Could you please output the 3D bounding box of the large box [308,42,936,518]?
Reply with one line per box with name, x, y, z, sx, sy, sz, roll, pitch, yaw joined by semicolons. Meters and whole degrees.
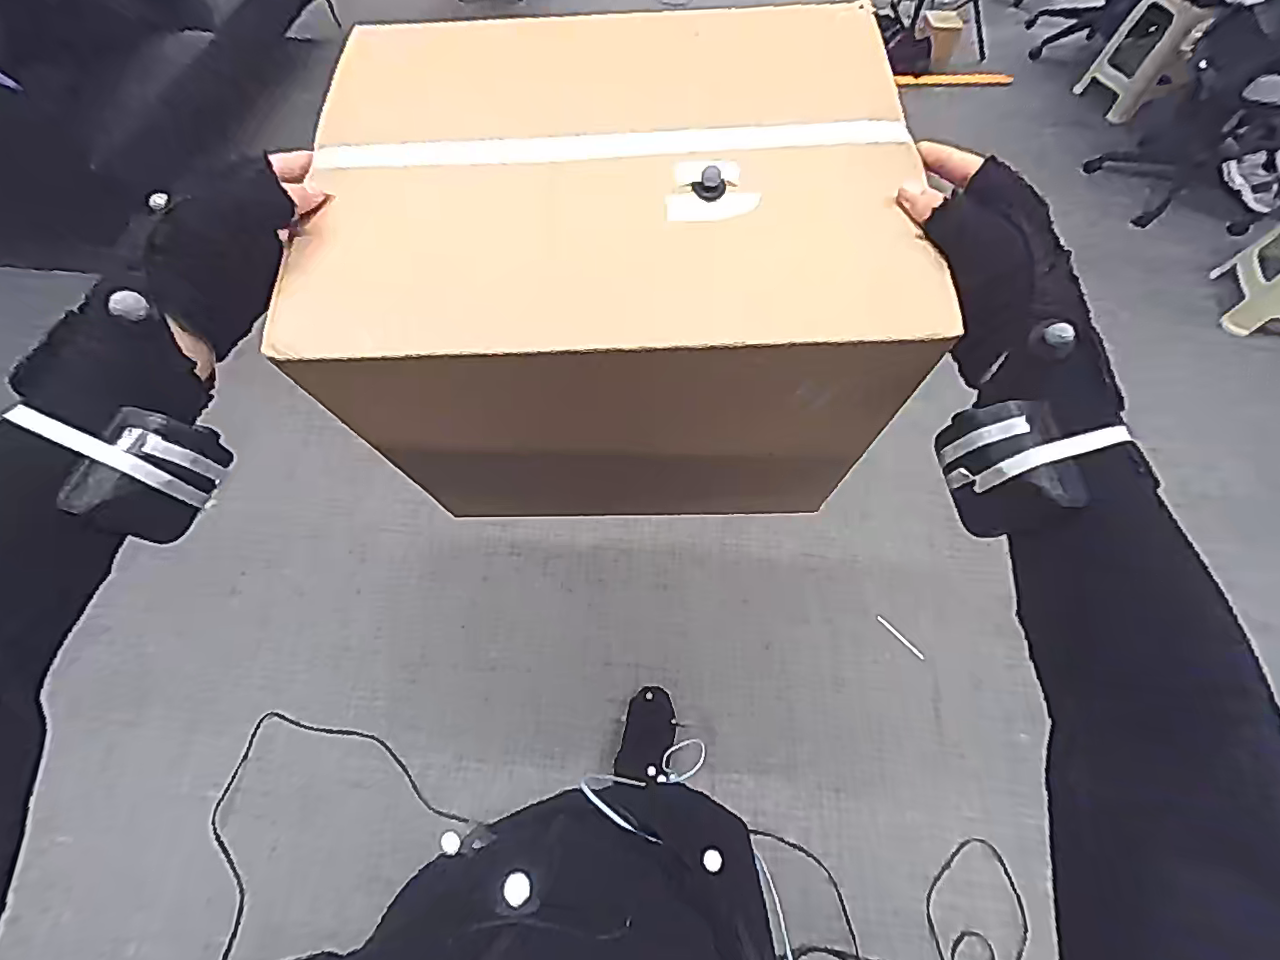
large box;-0.014;-0.160;0.530;0.408;0.320;0.320;-1;68;1
